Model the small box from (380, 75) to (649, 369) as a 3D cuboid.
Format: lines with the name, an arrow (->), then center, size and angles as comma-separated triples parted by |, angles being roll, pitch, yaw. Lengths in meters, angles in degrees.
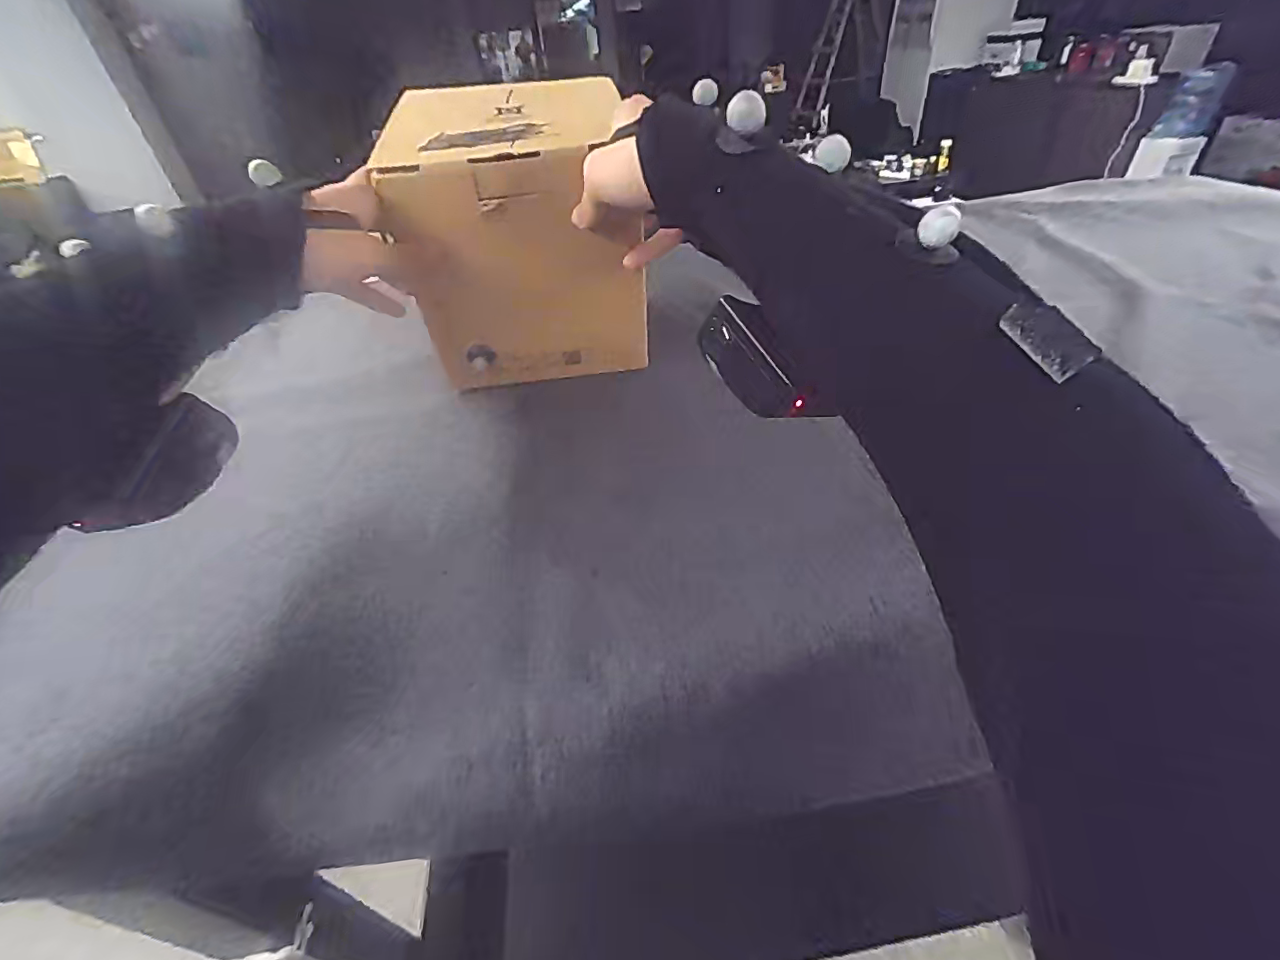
small box -> -0.085, -0.205, 0.445 | 0.168, 0.176, 0.179 | -7, 48, -3
